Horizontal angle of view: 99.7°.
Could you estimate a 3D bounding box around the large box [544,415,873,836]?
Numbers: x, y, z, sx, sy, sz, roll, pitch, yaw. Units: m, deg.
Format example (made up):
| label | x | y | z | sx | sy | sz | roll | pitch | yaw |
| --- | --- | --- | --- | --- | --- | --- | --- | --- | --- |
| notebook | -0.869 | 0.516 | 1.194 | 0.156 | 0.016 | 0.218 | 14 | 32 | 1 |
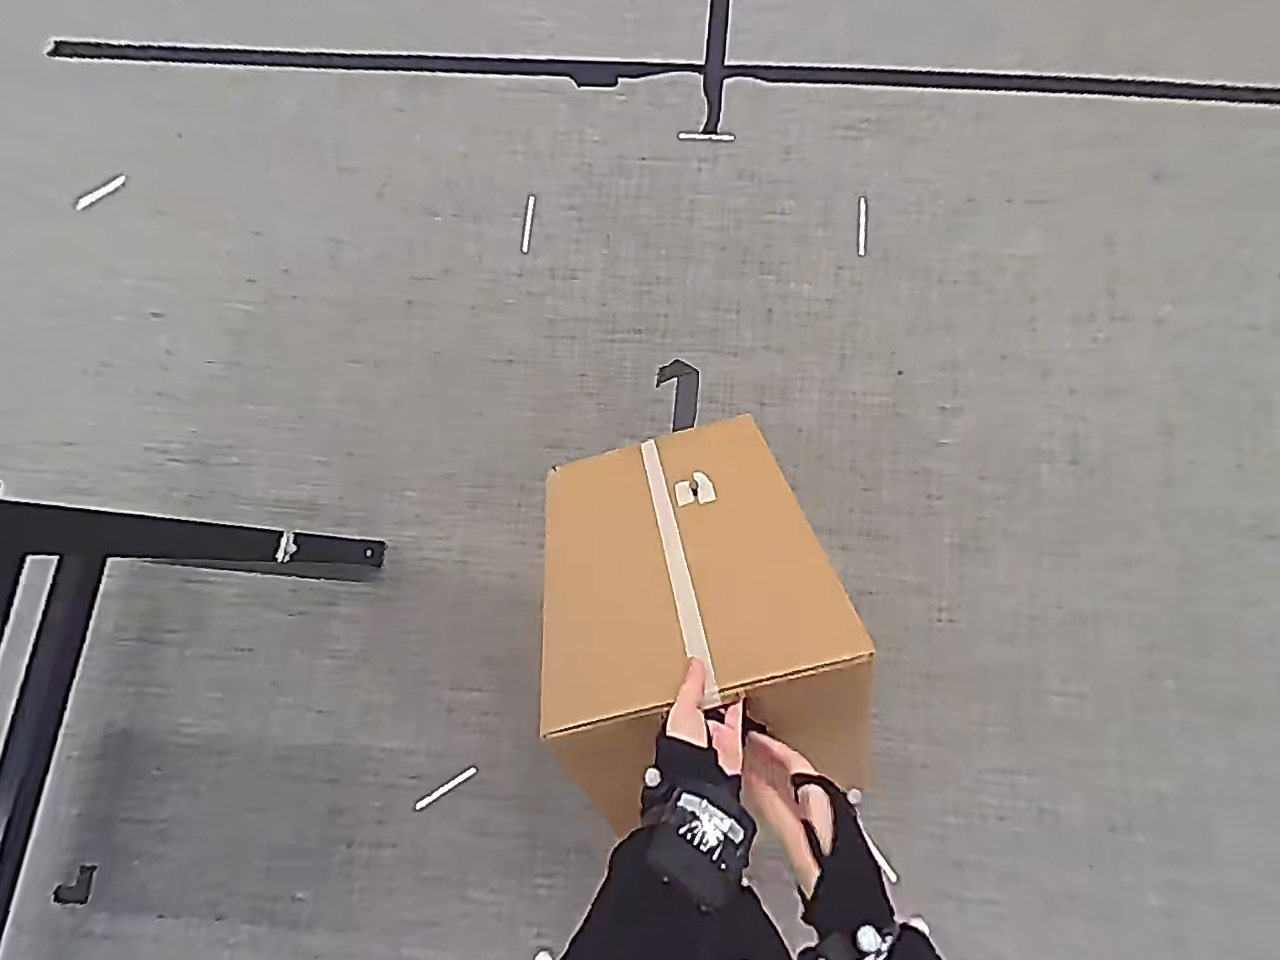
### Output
| label | x | y | z | sx | sy | sz | roll | pitch | yaw |
| --- | --- | --- | --- | --- | --- | --- | --- | --- | --- |
| large box | 0.071 | 0.177 | 0.727 | 0.320 | 0.320 | 0.408 | -14 | 39 | 3 |
